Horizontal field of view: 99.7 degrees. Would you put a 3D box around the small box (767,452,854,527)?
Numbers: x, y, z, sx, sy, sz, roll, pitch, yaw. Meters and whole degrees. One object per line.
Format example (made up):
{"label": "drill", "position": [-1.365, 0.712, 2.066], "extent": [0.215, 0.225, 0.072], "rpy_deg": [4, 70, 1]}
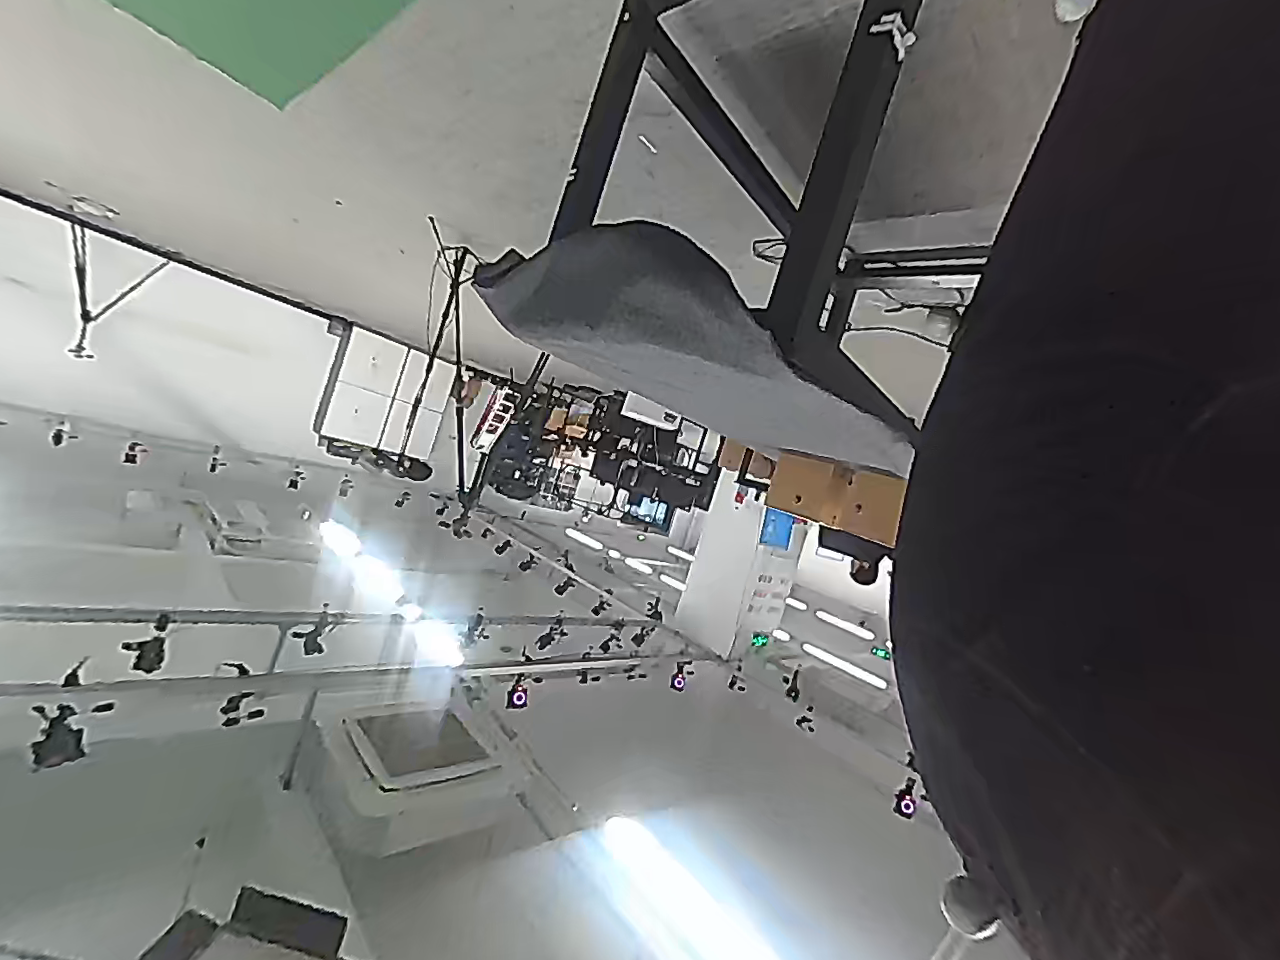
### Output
{"label": "small box", "position": [0.506, 0.025, 1.580], "extent": [0.179, 0.176, 0.168], "rpy_deg": [19, -179, 44]}
